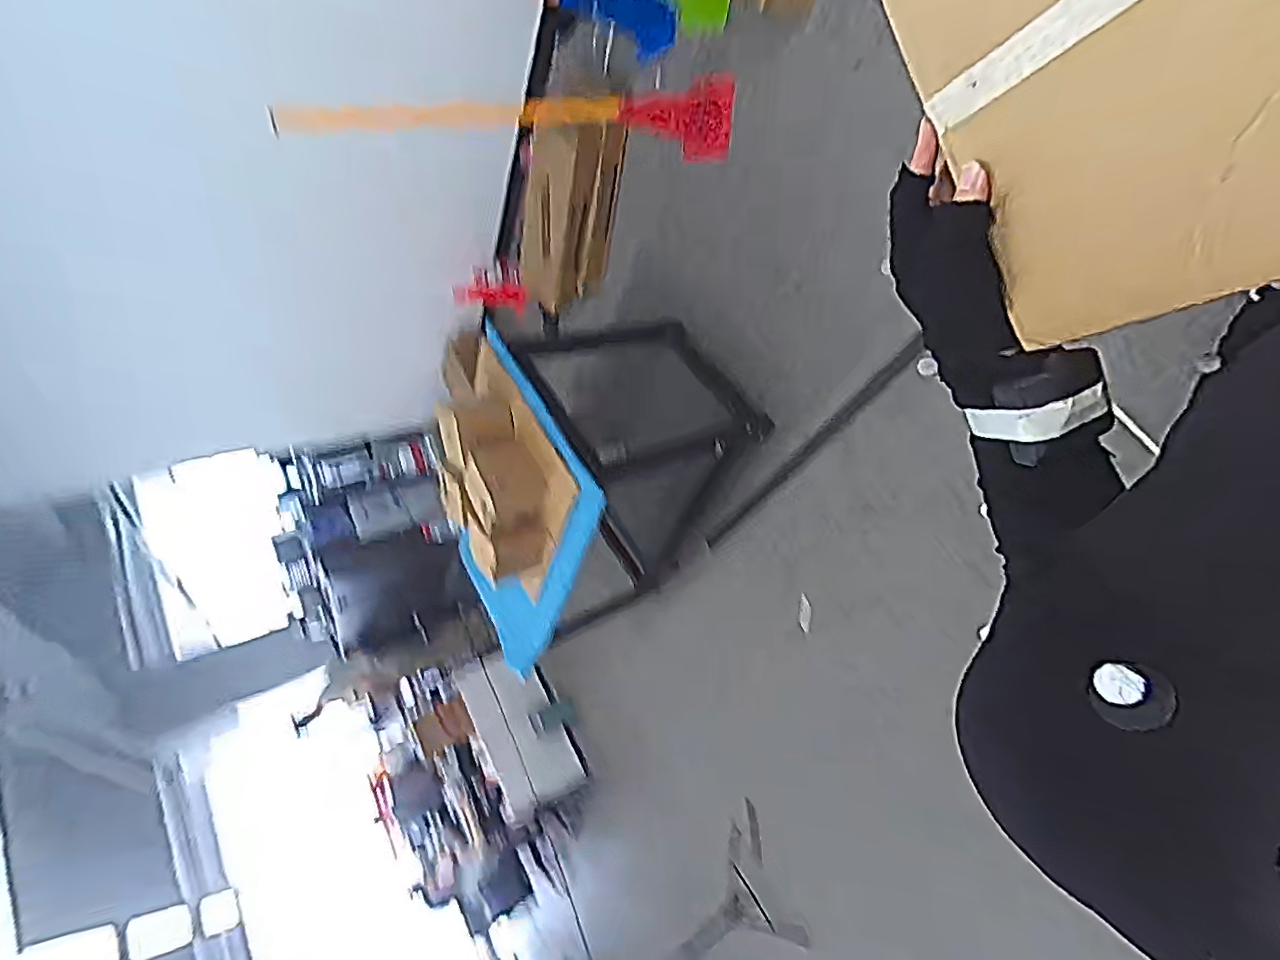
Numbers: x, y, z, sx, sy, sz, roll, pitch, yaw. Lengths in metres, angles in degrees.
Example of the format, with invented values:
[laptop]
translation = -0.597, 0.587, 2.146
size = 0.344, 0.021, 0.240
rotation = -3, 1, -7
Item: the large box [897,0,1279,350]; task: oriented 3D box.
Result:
[large box]
translation = 0.398, -0.311, 0.239
size = 0.408, 0.320, 0.320
rotation = -13, 105, 59
